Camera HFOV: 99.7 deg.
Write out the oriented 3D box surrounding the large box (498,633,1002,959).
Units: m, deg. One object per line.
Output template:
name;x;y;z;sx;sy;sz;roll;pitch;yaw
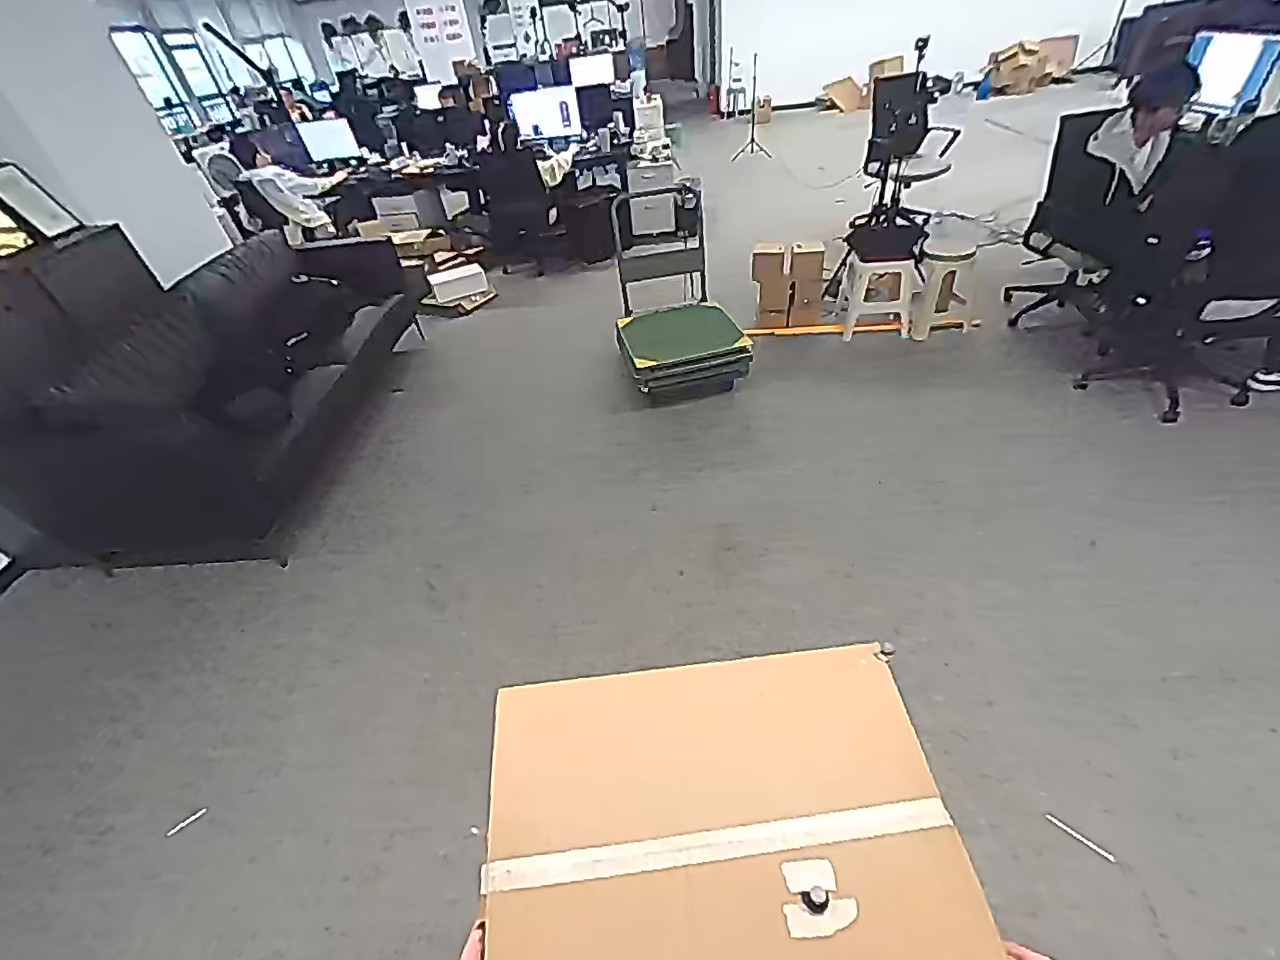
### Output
large box;0.074;0.402;0.602;0.408;0.320;0.320;-6;52;-4
